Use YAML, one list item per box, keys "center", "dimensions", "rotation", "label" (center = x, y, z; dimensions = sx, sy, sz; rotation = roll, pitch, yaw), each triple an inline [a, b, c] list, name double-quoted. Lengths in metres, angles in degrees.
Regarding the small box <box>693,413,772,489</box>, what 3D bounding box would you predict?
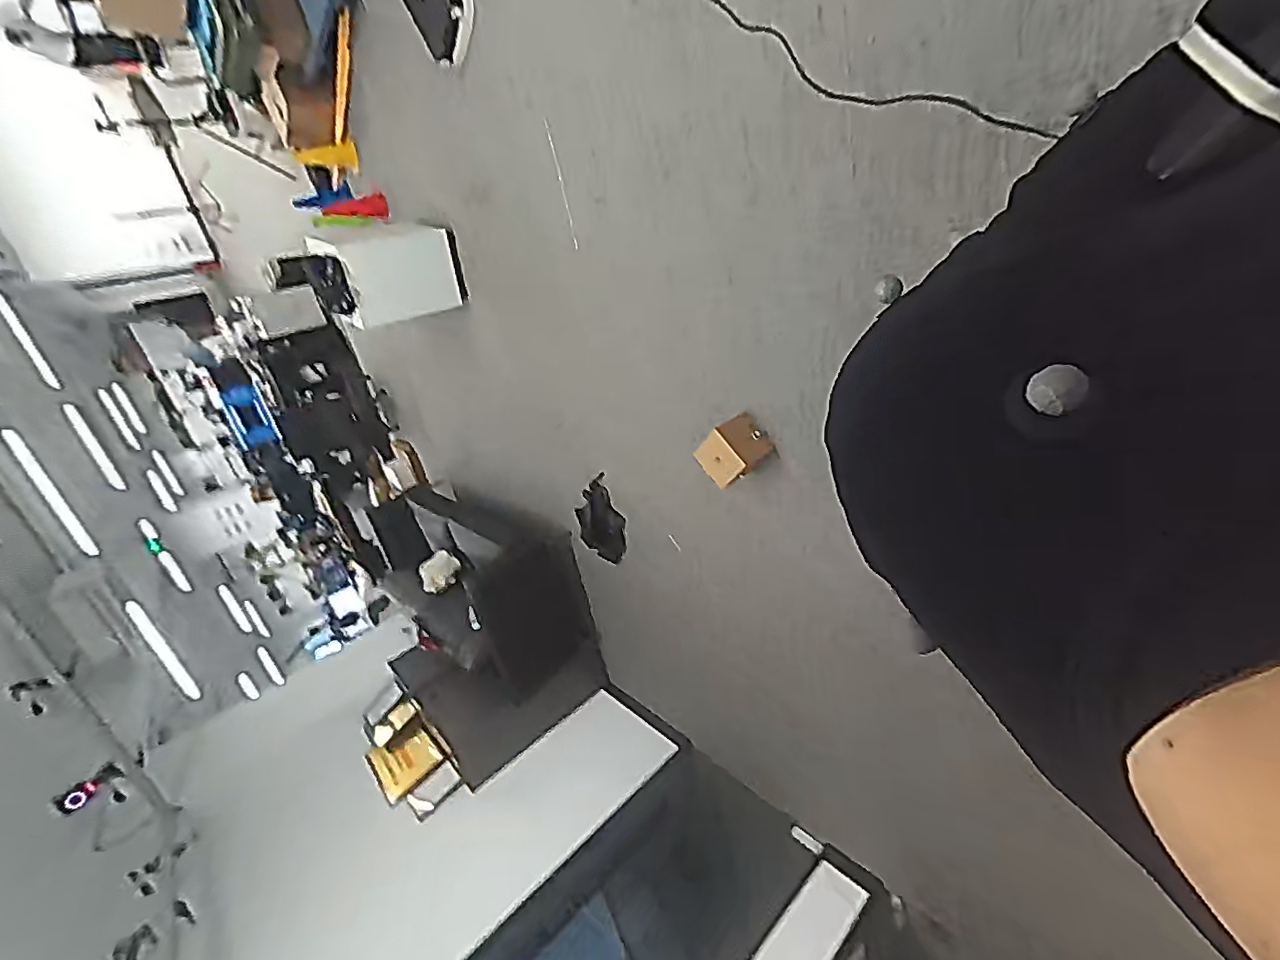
- center: [0.320, -0.102, 1.866]
  dimensions: [0.168, 0.176, 0.179]
  rotation: [52, 145, 12]
  label: "small box"
